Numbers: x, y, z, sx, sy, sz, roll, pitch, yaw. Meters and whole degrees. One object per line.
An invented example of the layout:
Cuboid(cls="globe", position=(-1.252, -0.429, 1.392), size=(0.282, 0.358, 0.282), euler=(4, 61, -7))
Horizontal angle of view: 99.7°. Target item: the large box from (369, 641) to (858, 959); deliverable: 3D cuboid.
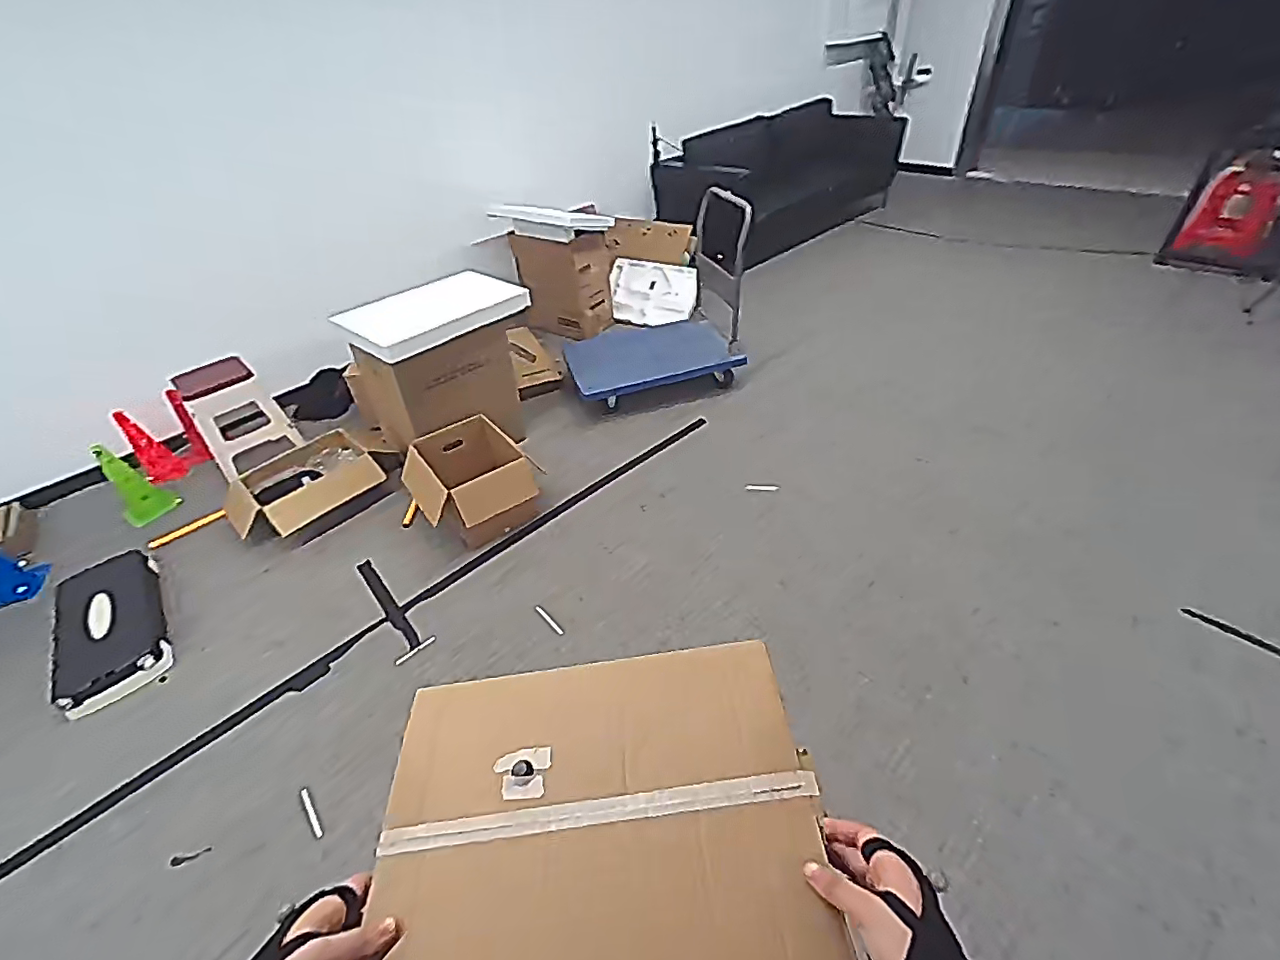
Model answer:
Cuboid(cls="large box", position=(-0.016, 0.430, 0.609), size=(0.408, 0.320, 0.320), euler=(-11, 39, 2))
